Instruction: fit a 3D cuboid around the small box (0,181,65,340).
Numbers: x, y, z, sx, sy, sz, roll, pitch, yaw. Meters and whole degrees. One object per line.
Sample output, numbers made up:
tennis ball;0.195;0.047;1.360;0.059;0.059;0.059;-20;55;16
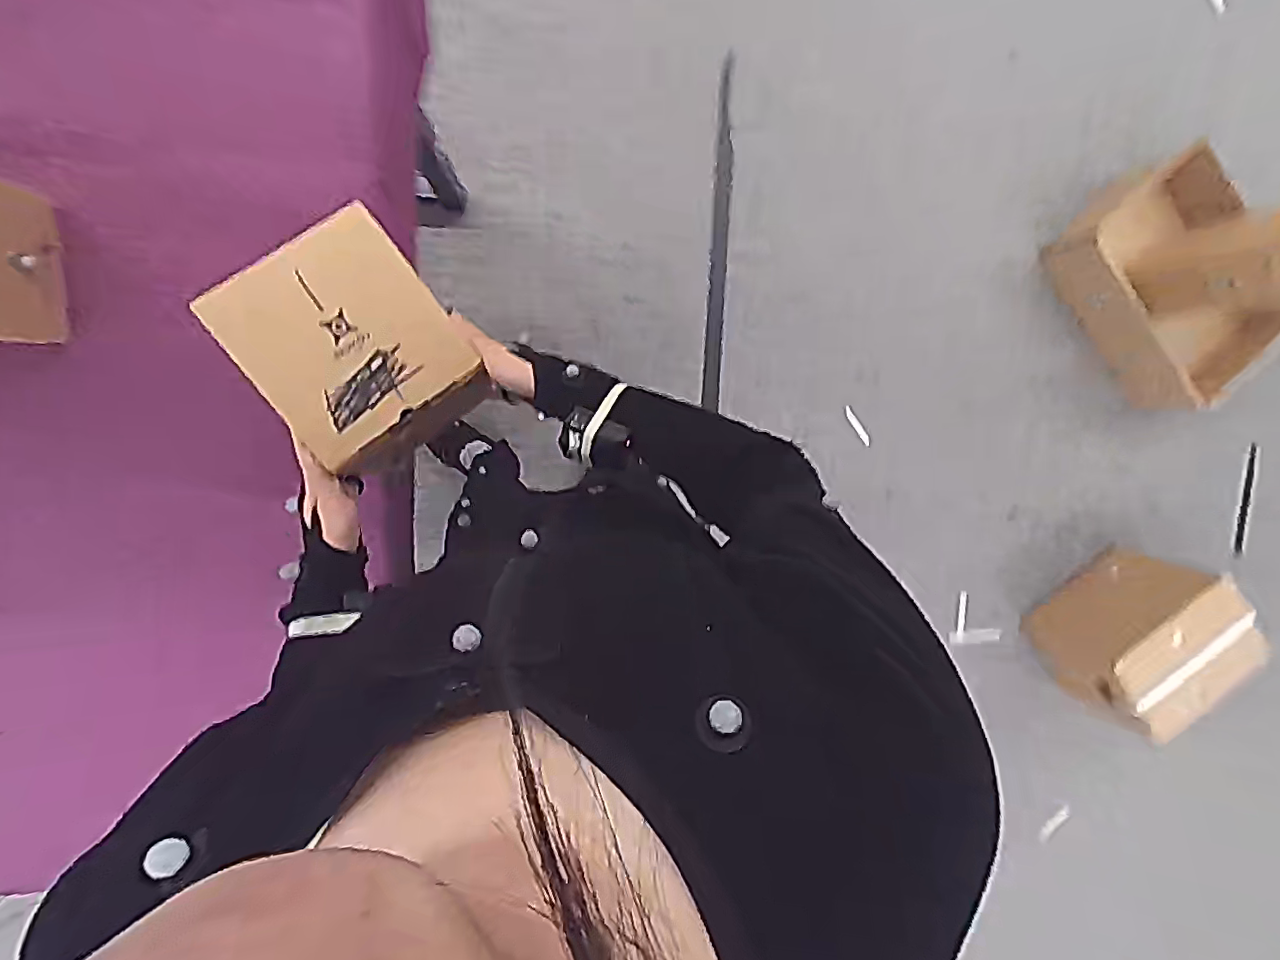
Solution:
small box;-0.760;-0.236;0.547;0.179;0.176;0.168;1;99;-9
